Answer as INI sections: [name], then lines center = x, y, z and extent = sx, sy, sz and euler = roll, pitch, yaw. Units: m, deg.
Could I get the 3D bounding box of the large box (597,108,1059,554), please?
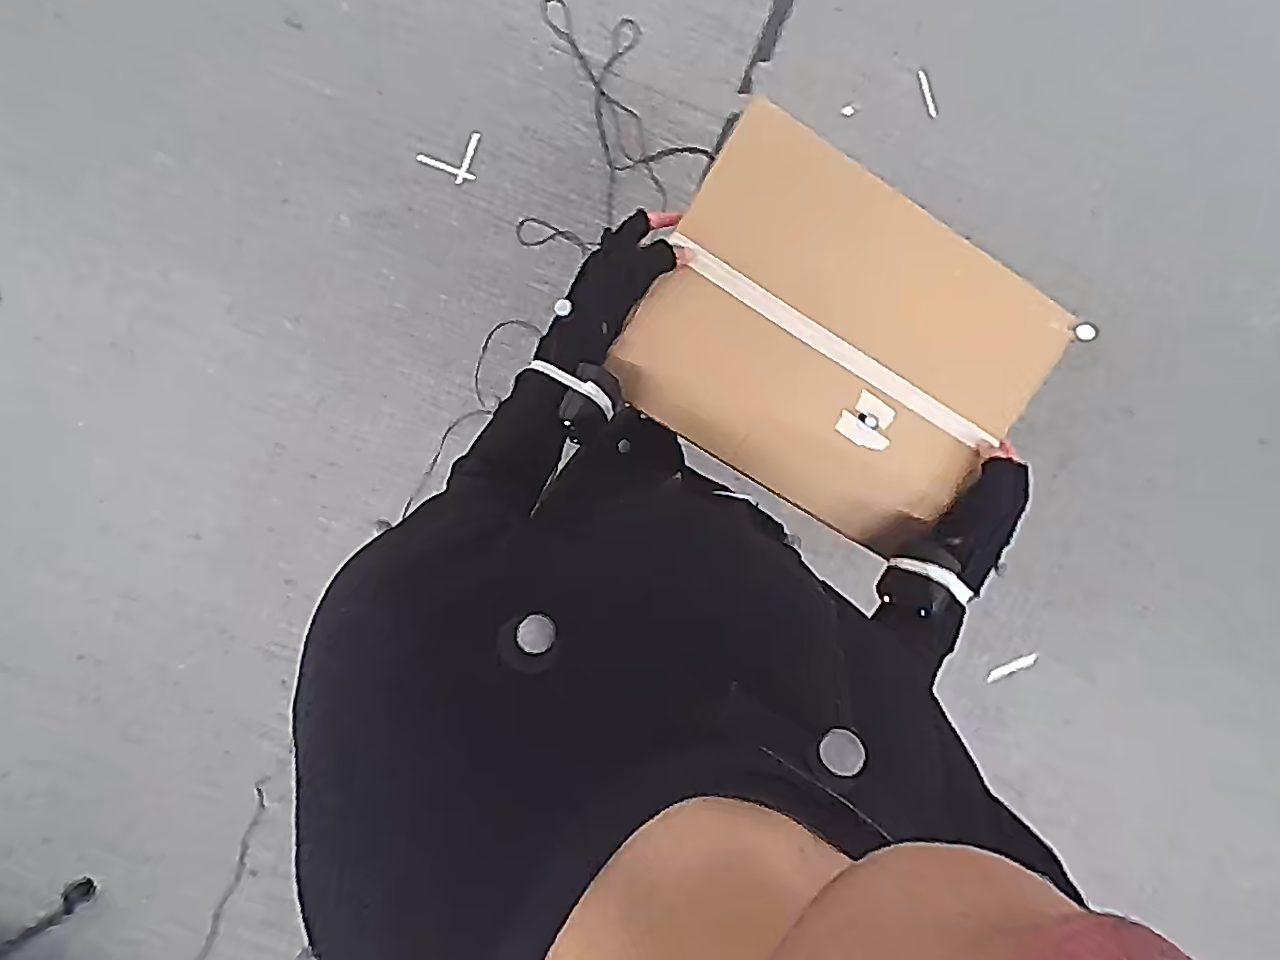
[large box]
center = 0.192, -0.166, 0.714
extent = 0.408, 0.320, 0.320
euler = 31, 99, -7
